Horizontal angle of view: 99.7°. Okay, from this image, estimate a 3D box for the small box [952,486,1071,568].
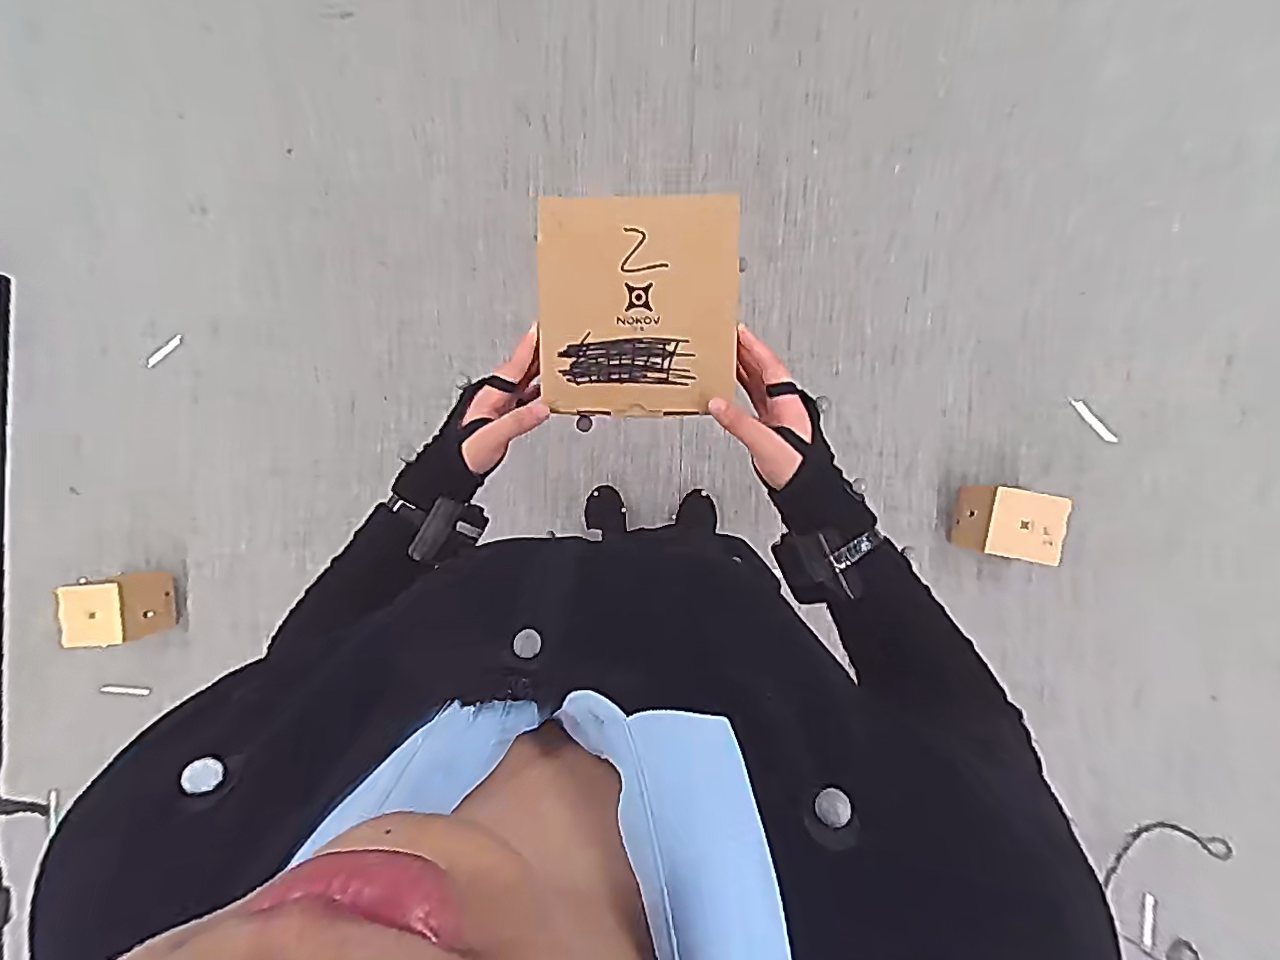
[{"bbox_3d":[0.923,0.112,1.361,0.179,0.176,0.168,11,92,3],"label":"small box"}]

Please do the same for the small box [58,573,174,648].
[{"bbox_3d":[-1.455,0.359,1.516,0.179,0.176,0.168,-5,90,4],"label":"small box"}]
